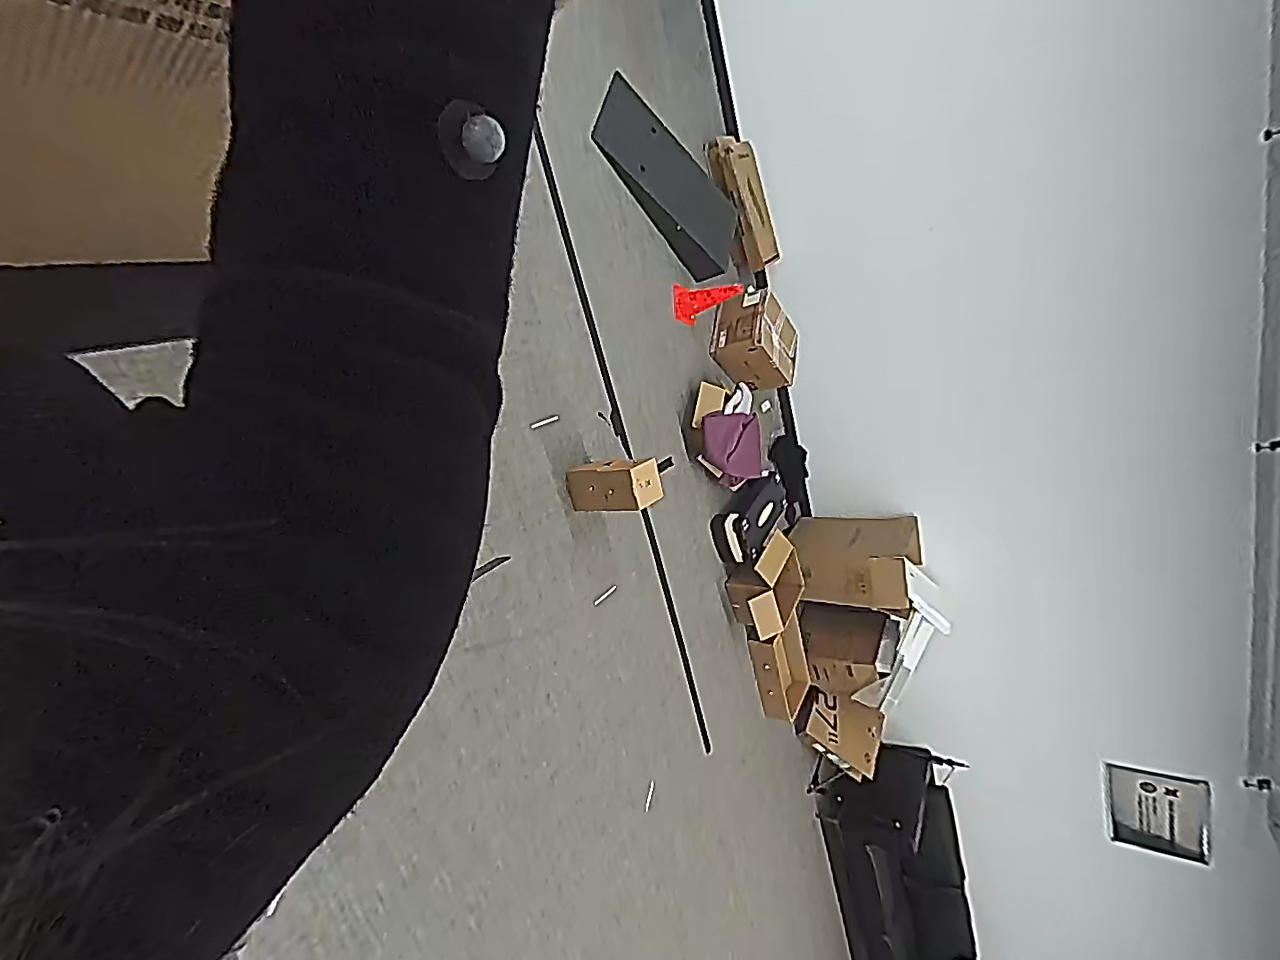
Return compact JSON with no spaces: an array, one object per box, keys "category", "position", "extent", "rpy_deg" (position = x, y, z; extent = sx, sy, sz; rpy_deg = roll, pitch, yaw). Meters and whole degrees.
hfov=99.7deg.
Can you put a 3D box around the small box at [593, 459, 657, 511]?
[{"category":"small box","position":[-0.060,0.017,2.141],"extent":[0.179,0.176,0.168],"rpy_deg":[-27,109,-51]}]

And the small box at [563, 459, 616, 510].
[{"category":"small box","position":[-0.196,0.020,2.233],"extent":[0.168,0.176,0.179],"rpy_deg":[-27,109,-51]}]
